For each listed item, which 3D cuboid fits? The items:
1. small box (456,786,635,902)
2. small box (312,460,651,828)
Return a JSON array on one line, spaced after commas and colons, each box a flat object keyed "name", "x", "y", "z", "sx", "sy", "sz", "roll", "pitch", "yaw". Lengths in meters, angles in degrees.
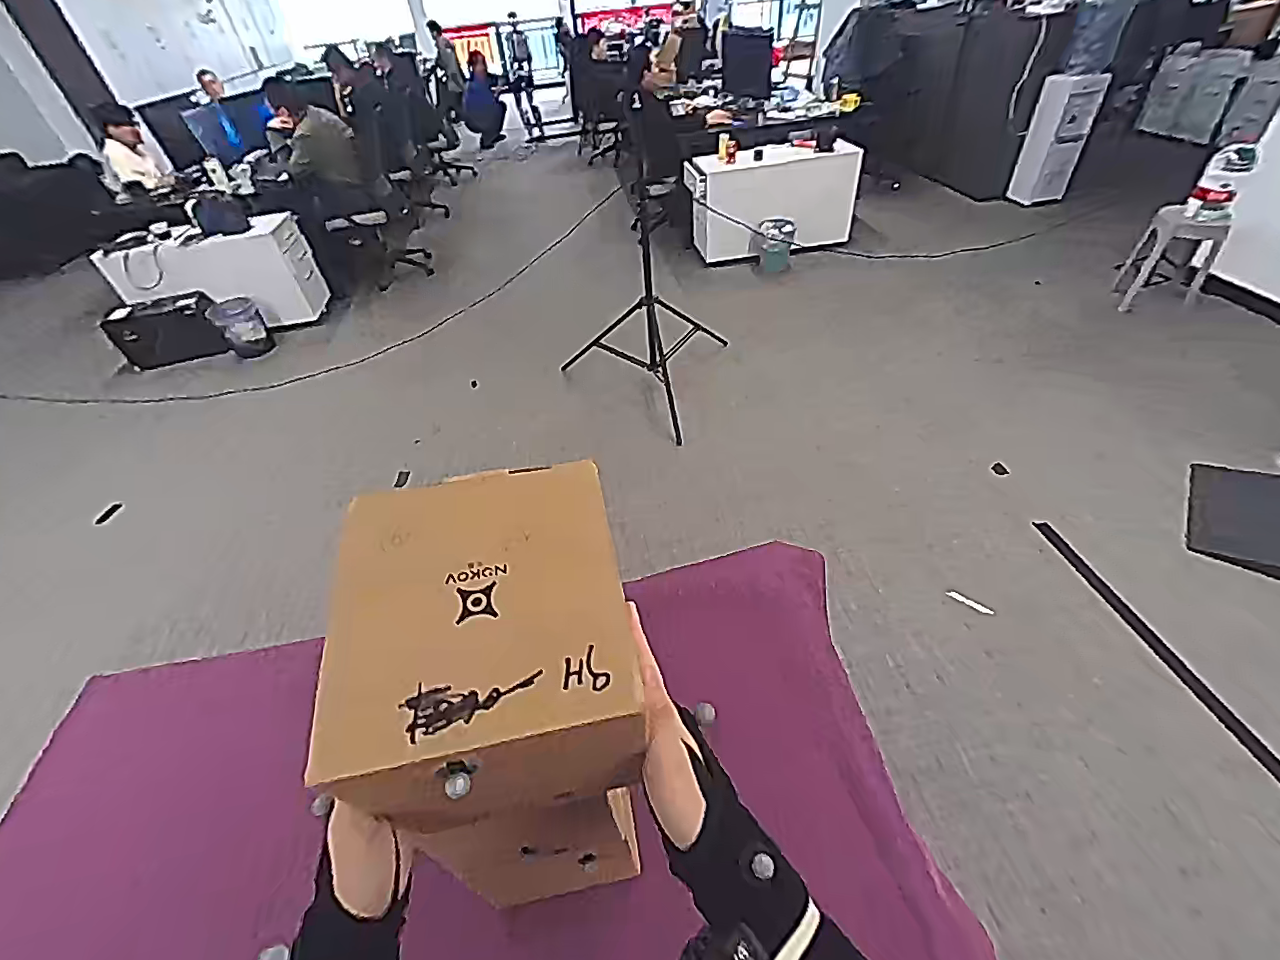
[{"name": "small box", "x": -0.104, "y": 0.375, "z": 0.649, "sx": 0.179, "sy": 0.176, "sz": 0.168, "roll": -11, "pitch": 42, "yaw": -4}, {"name": "small box", "x": -0.090, "y": 0.114, "z": 0.377, "sx": 0.168, "sy": 0.176, "sz": 0.179, "roll": -10, "pitch": 50, "yaw": -7}]
